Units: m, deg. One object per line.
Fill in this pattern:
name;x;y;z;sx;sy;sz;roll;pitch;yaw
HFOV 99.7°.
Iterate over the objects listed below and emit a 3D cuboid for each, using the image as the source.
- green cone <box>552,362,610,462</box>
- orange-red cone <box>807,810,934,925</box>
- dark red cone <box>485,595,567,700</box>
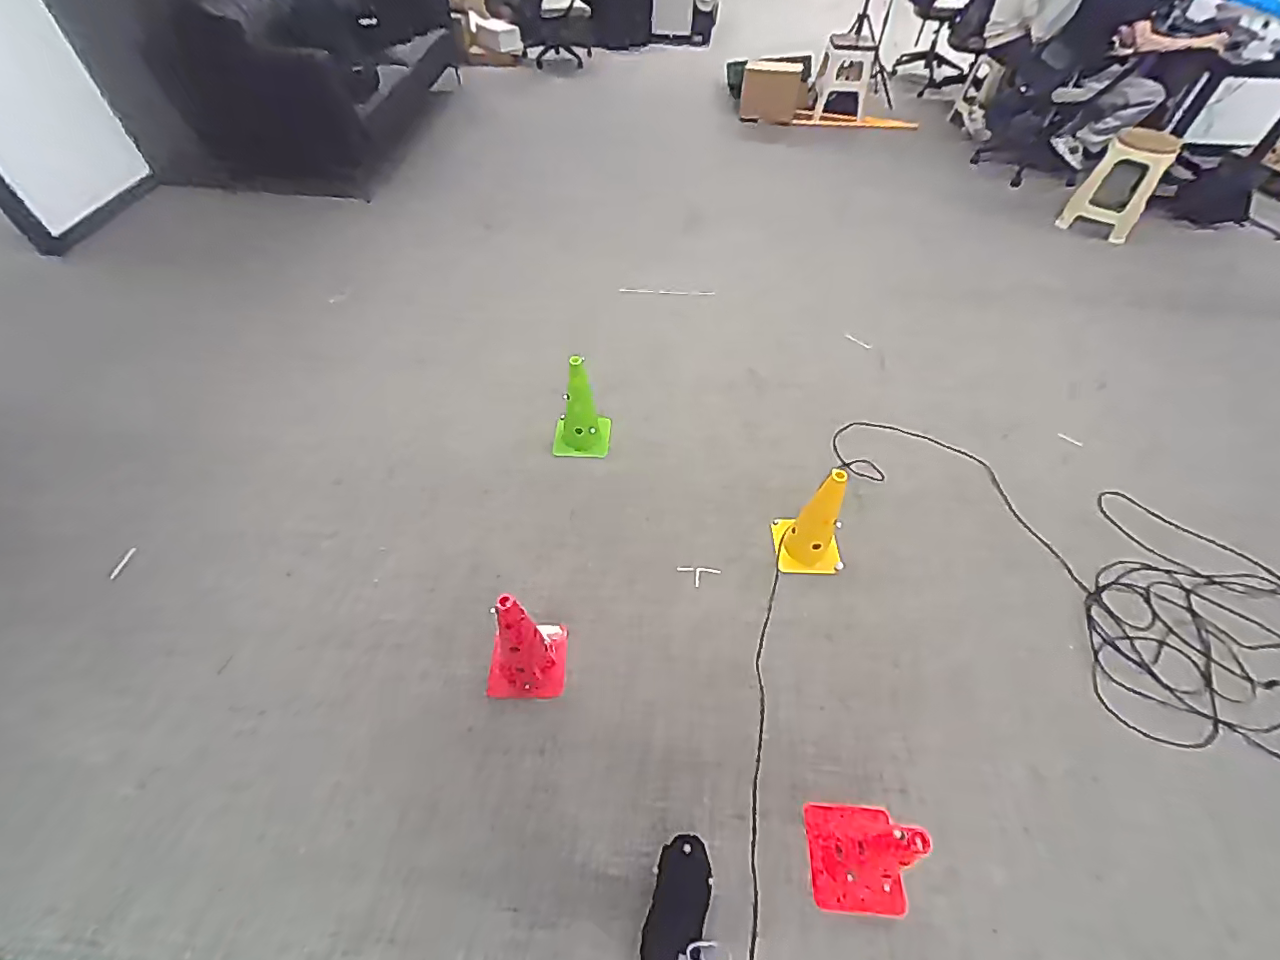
green cone;-0.211;-0.252;1.870;0.202;0.368;0.200;3;51;0
orange-red cone;0.481;0.743;1.067;0.198;0.360;0.199;4;50;1
dark red cone;-0.297;0.382;1.316;0.202;0.394;0.201;-1;52;-2
